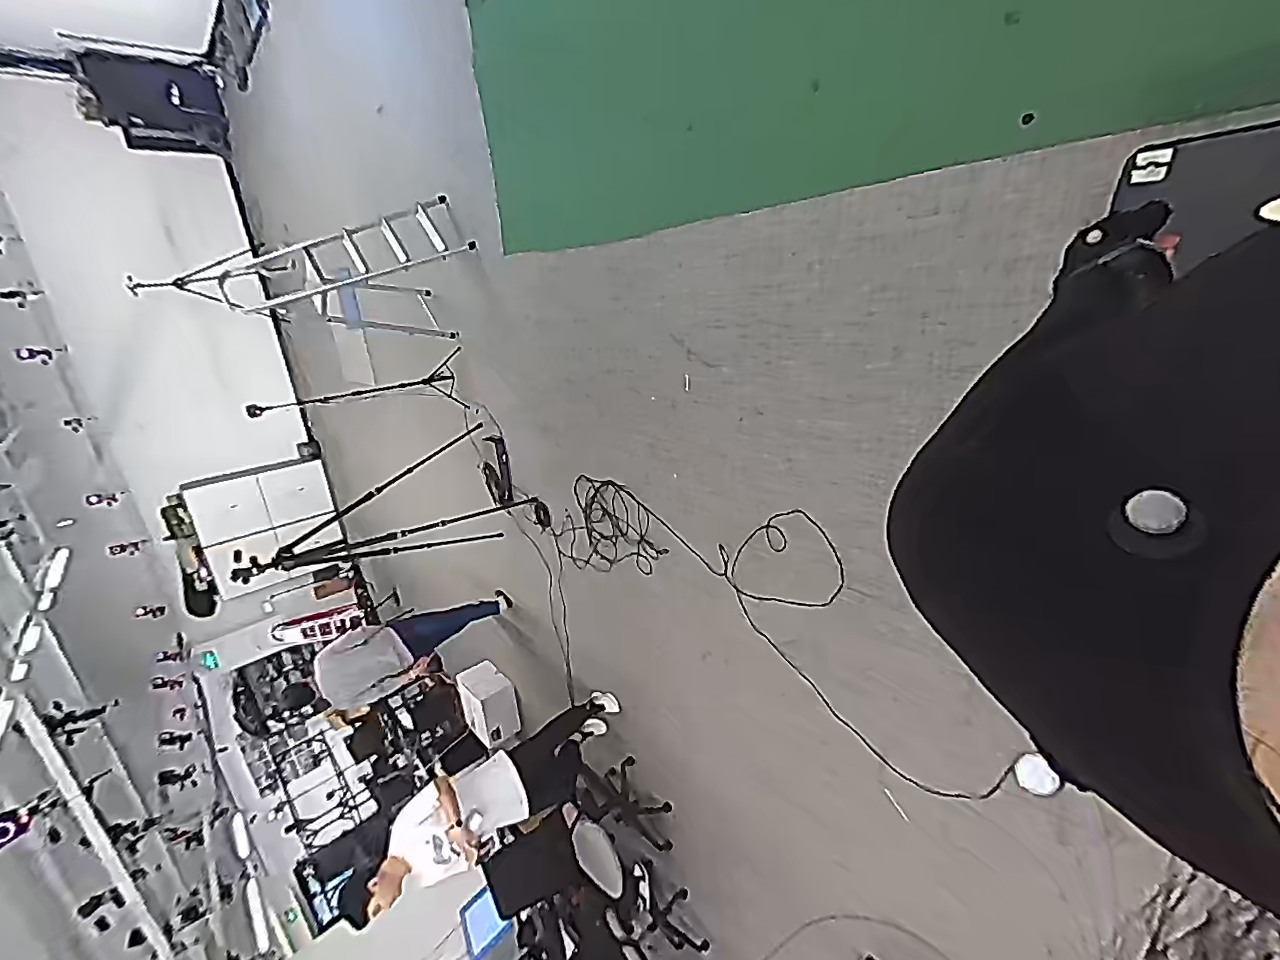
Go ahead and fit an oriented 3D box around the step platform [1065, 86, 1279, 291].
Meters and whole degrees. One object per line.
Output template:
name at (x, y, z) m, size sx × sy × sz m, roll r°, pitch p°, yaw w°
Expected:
step platform at (1.051, -0.445, 0.764) m, size 0.684 × 0.204 × 0.286 m, roll 16°, pitch 119°, yaw 47°
